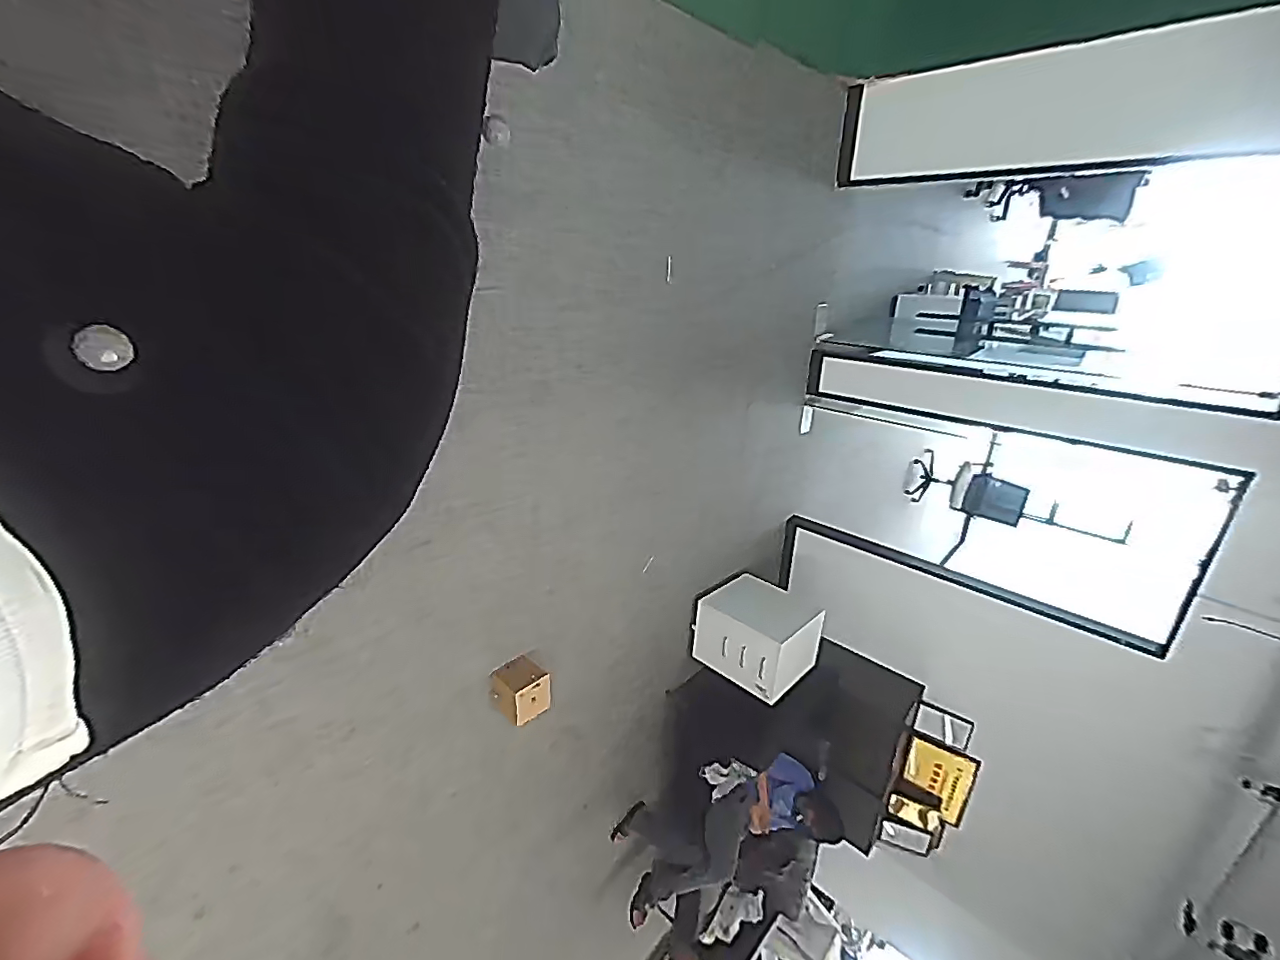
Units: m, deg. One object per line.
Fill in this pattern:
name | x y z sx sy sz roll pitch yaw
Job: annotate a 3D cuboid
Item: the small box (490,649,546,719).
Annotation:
small box | -0.504 0.836 2.229 0.168 0.176 0.179 -20 121 -45
